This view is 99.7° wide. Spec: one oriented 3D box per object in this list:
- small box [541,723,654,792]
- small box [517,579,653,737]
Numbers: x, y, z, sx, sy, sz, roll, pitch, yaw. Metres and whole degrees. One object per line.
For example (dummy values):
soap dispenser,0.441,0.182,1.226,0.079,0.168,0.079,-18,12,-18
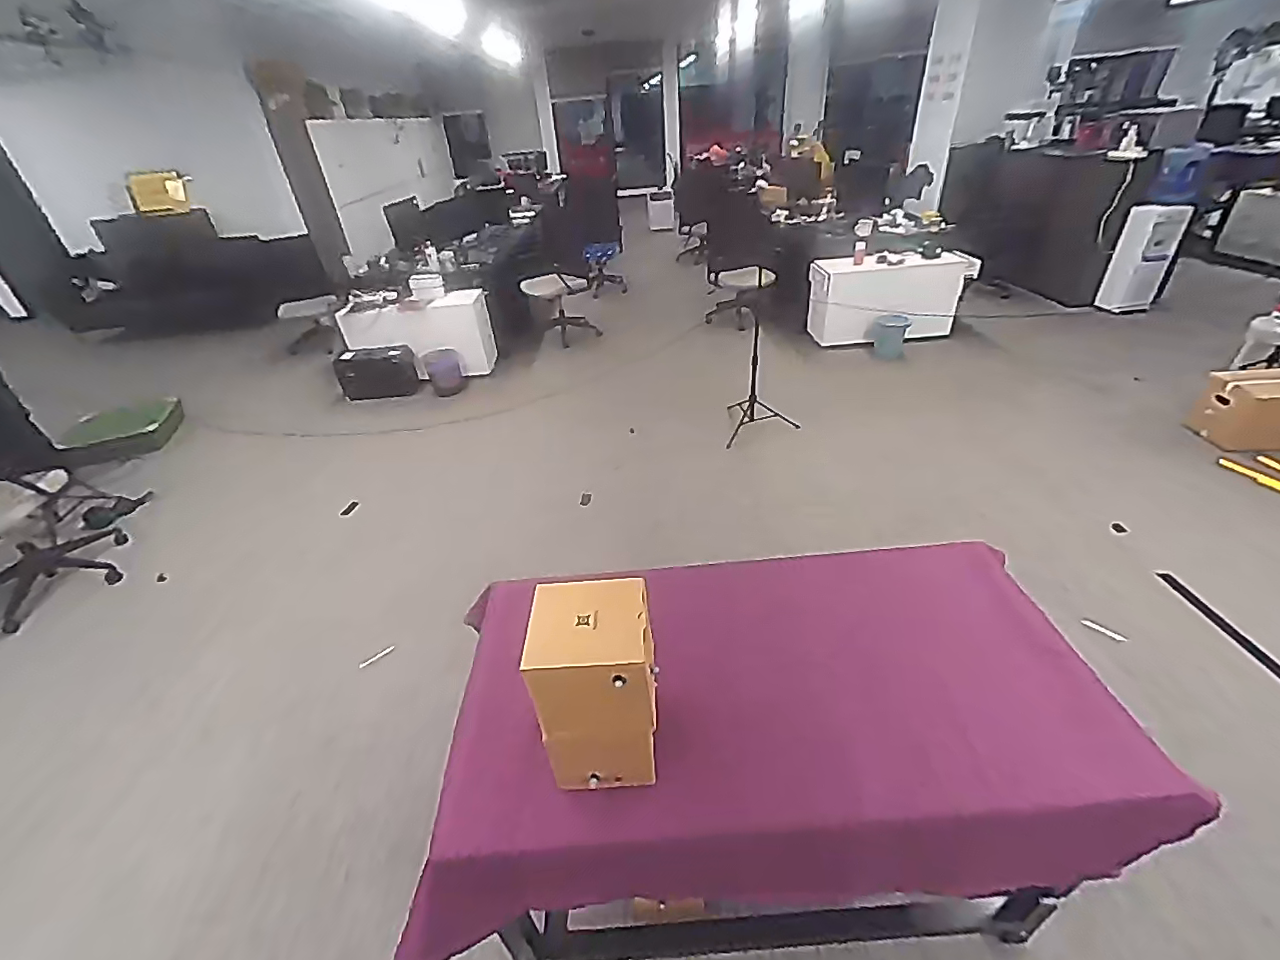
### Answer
small box,-0.064,0.406,0.932,0.168,0.176,0.179,-5,35,2
small box,-0.074,0.276,0.836,0.179,0.176,0.168,-4,34,2
